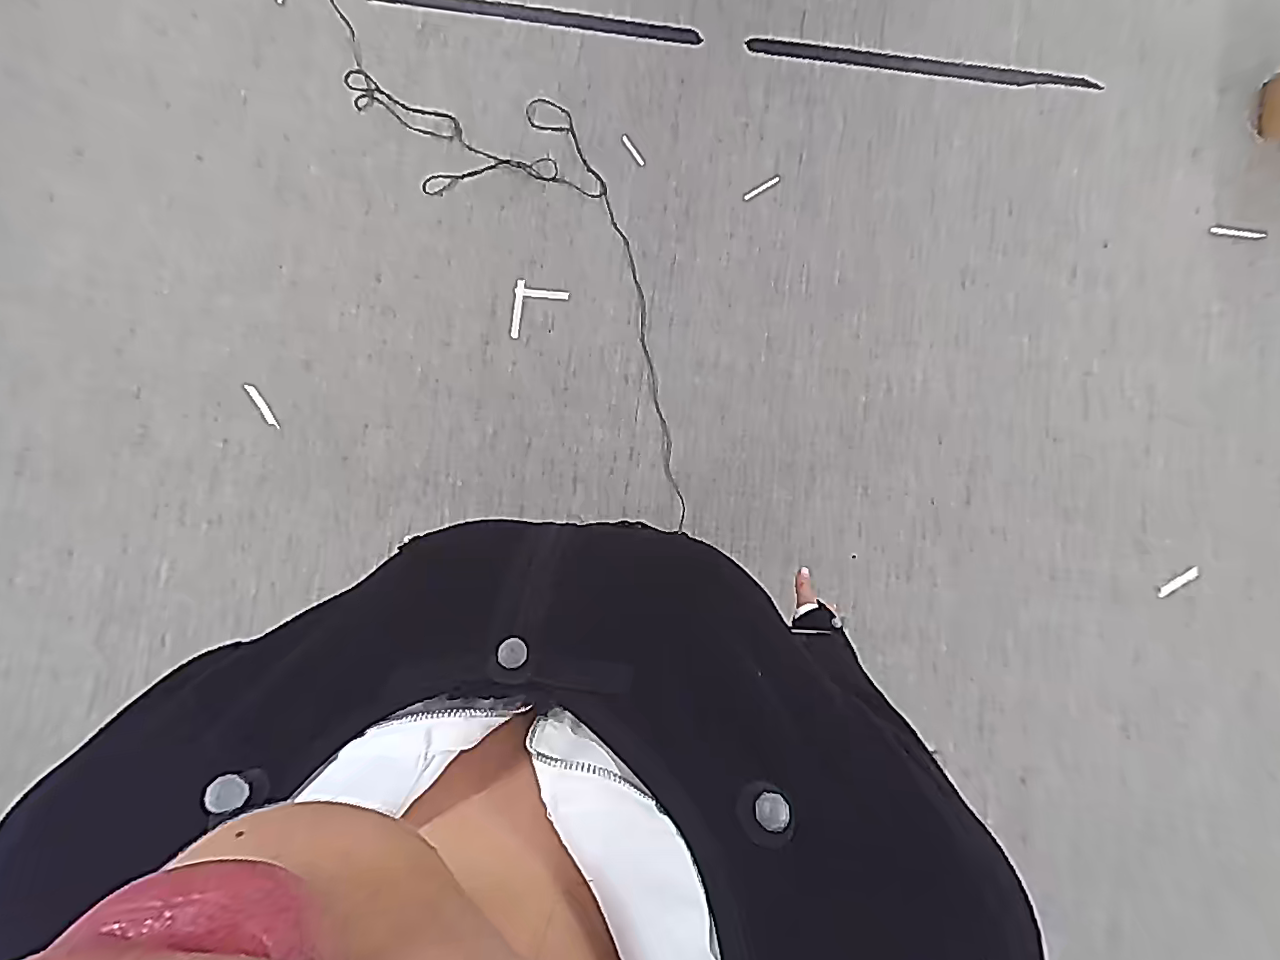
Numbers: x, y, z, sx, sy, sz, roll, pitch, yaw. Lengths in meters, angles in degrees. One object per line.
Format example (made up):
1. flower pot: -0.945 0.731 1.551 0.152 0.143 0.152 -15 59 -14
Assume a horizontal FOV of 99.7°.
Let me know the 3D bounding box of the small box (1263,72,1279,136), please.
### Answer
1. small box: 1.884 -1.070 1.485 0.168 0.176 0.179 8 84 2
